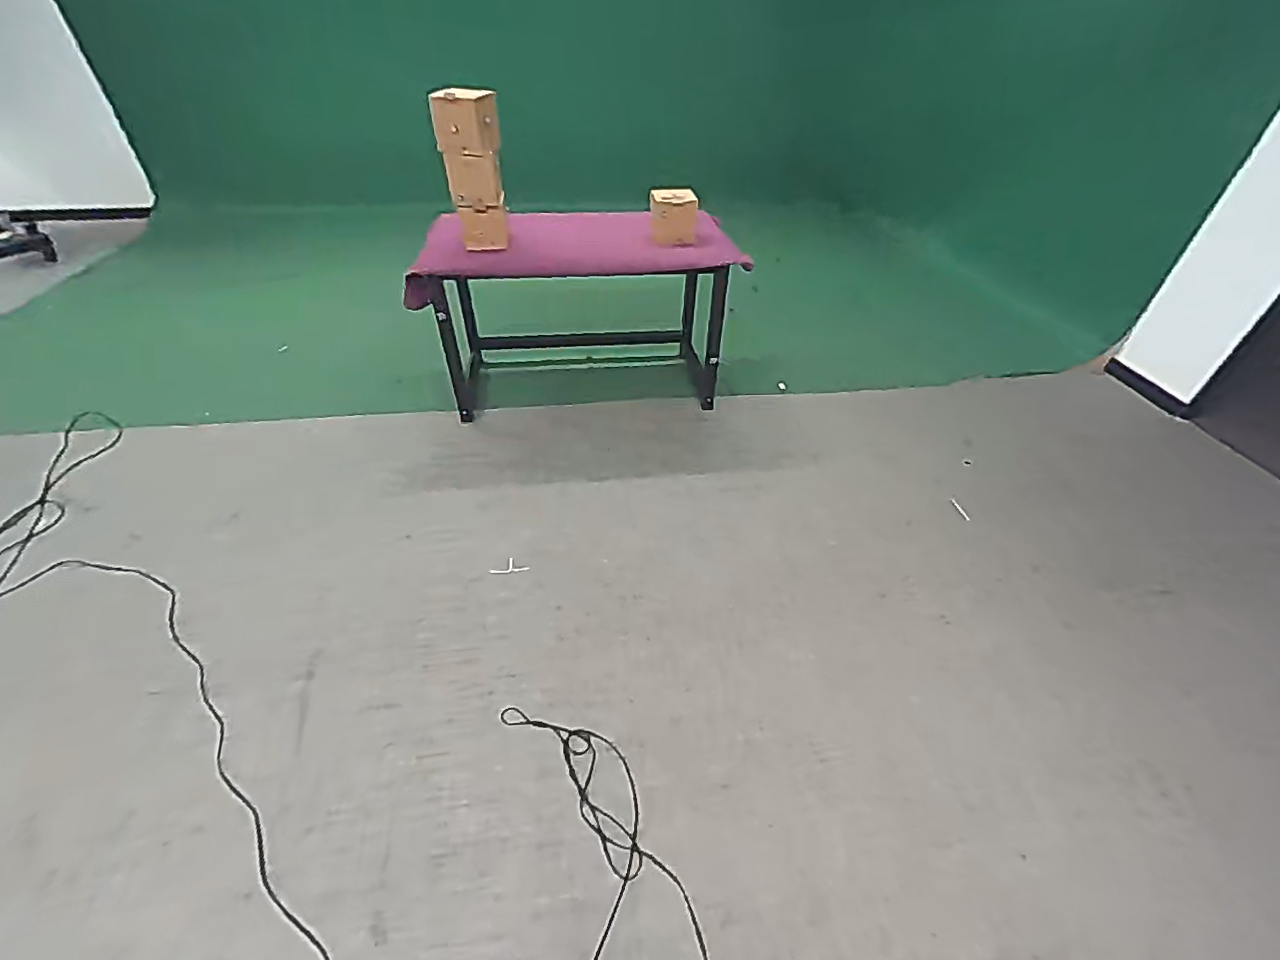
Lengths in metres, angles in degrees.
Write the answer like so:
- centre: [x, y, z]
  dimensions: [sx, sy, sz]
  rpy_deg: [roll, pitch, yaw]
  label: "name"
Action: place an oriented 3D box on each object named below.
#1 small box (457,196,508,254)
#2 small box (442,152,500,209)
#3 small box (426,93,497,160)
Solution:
- centre: [-0.617, -1.006, 2.130]
  dimensions: [0.168, 0.176, 0.179]
  rpy_deg: [-5, 43, -8]
  label: "small box"
- centre: [-0.620, -1.117, 2.007]
  dimensions: [0.168, 0.176, 0.179]
  rpy_deg: [-2, 42, -5]
  label: "small box"
- centre: [-0.616, -1.240, 1.899]
  dimensions: [0.168, 0.176, 0.179]
  rpy_deg: [10, 44, 8]
  label: "small box"
